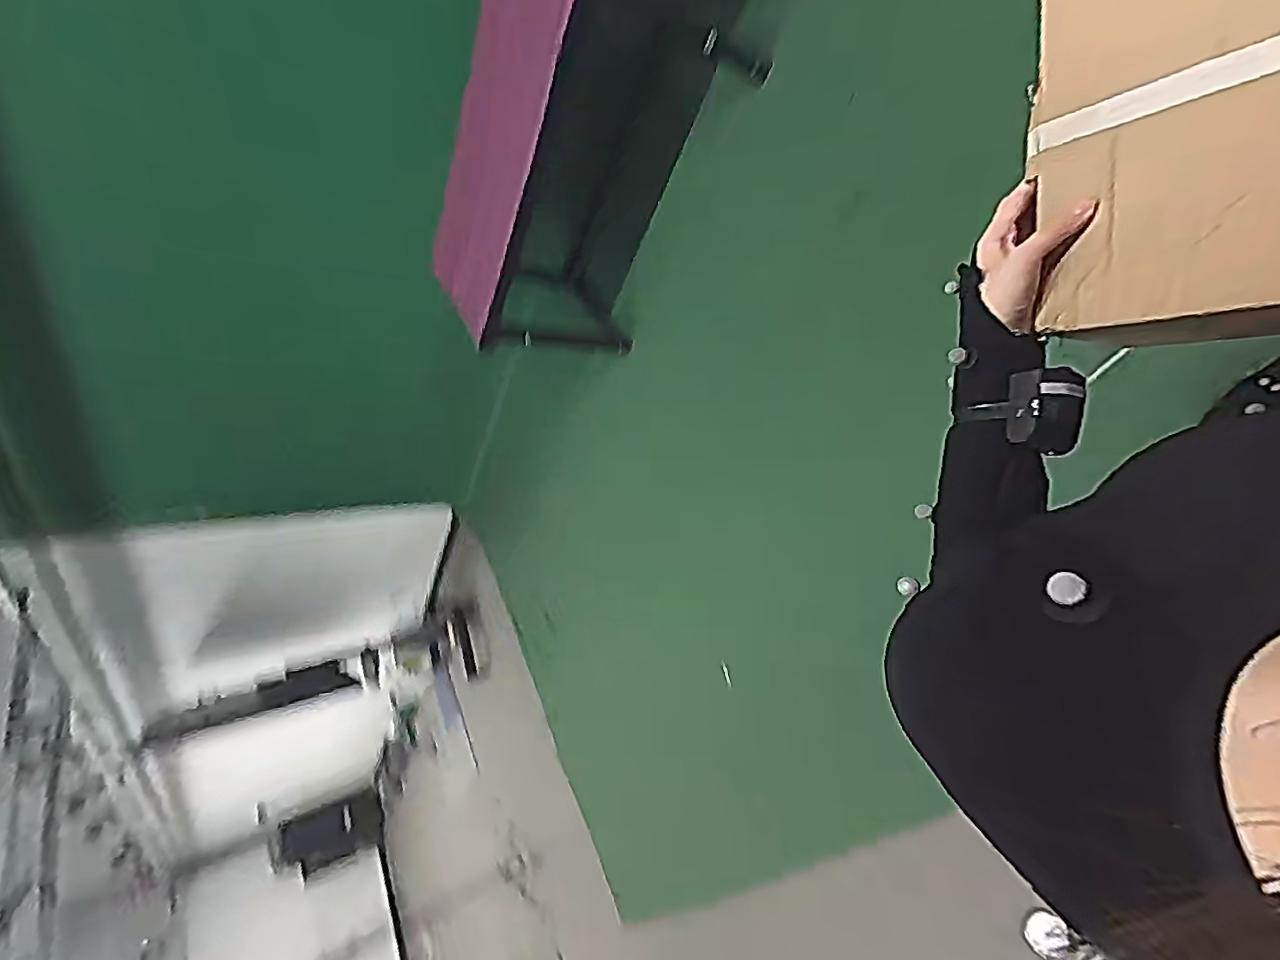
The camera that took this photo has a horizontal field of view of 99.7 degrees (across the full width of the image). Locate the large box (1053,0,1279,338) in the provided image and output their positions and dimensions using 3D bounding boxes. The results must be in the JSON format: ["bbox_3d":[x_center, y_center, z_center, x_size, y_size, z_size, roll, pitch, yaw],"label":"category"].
[{"bbox_3d":[0.576,-0.292,0.378,0.408,0.320,0.320,6,101,50],"label":"large box"}]
